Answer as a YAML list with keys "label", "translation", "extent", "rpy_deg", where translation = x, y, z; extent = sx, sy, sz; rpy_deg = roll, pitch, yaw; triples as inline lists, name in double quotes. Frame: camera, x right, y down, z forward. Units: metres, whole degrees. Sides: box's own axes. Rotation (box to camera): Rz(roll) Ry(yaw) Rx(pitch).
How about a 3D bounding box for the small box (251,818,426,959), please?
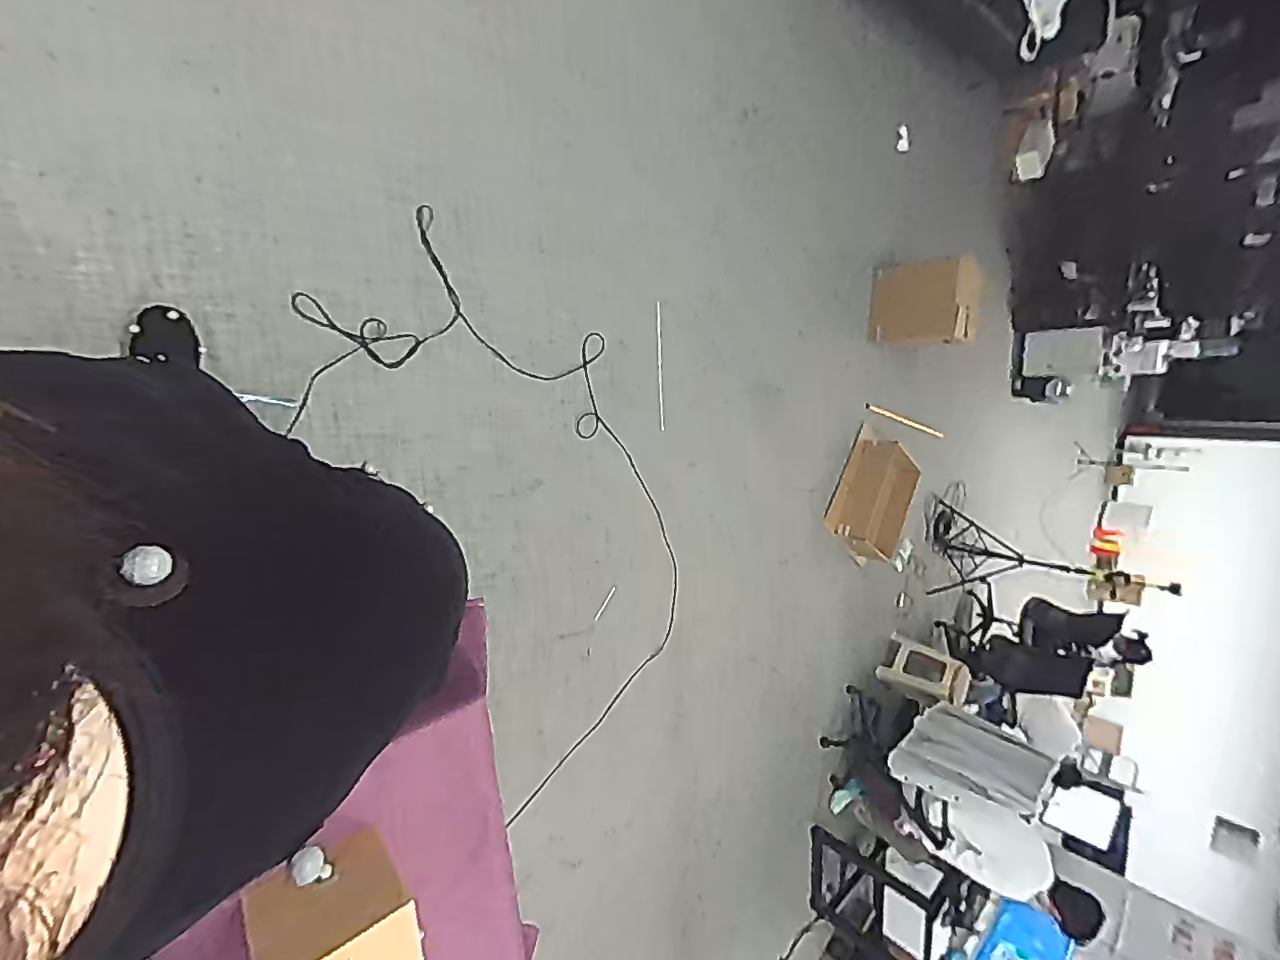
- label: "small box"
  translation: [-0.399, 0.607, 0.720]
  extent: [0.168, 0.176, 0.179]
  rpy_deg: [-13, 105, -40]
